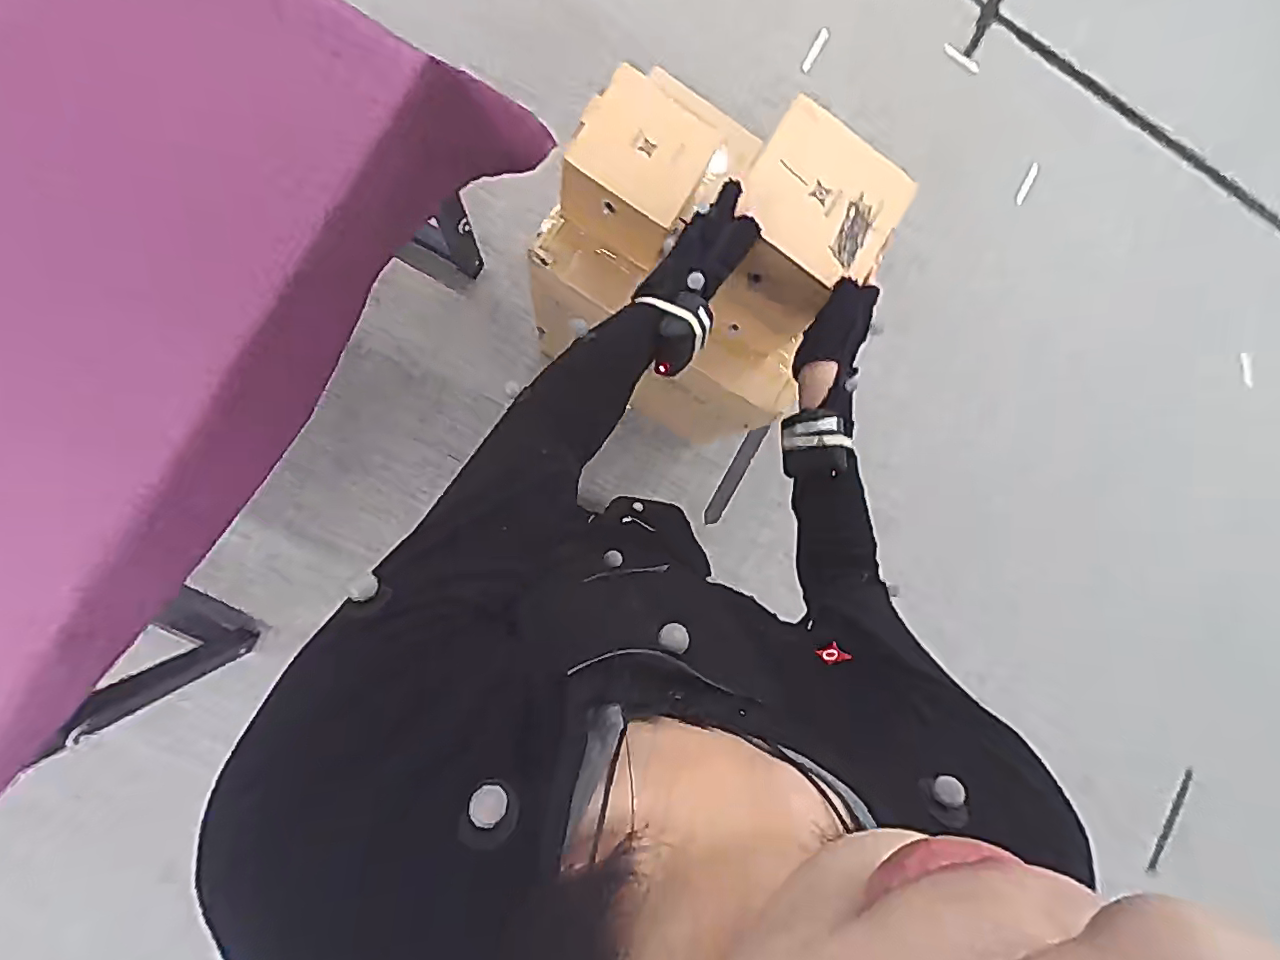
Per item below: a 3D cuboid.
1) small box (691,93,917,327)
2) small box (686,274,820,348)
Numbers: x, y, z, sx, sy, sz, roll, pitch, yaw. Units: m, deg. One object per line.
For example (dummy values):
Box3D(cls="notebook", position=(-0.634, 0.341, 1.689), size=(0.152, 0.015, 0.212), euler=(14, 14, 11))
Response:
Box3D(cls="small box", position=(0.191, -0.313, 0.676), size=(0.179, 0.176, 0.168), euler=(33, 86, -9))
Box3D(cls="small box", position=(0.196, -0.326, 0.857), size=(0.179, 0.176, 0.168), euler=(24, 86, -7))
